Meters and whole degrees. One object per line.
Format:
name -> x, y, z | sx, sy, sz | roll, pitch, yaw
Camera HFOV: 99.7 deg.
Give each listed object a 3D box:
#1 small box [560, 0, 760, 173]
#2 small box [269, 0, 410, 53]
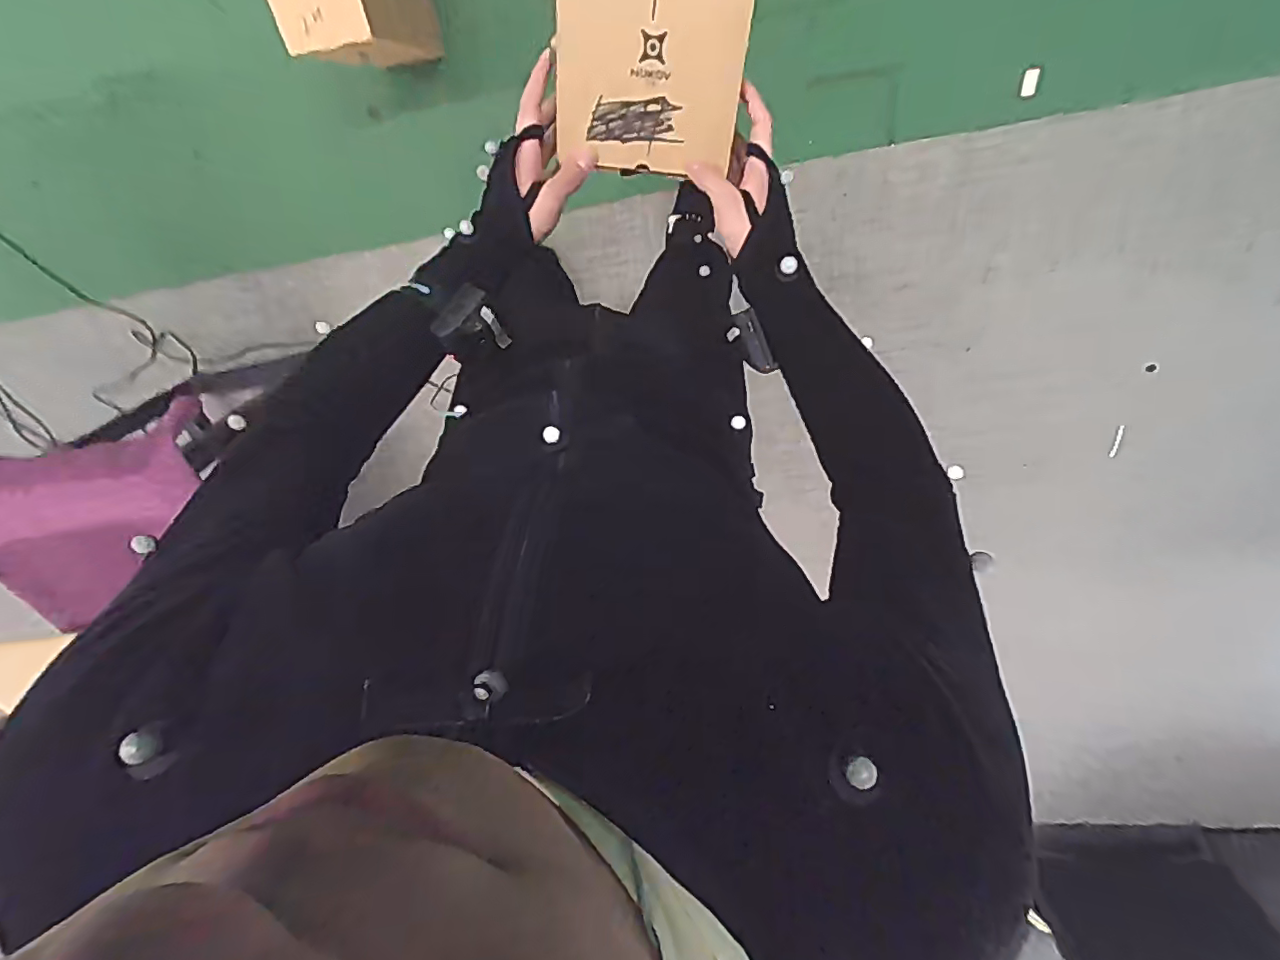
small box -> 0.014, -0.413, 0.524 | 0.168, 0.176, 0.179 | 3, 125, -3
small box -> -0.538, -0.877, 0.947 | 0.168, 0.176, 0.179 | -3, 124, 9
